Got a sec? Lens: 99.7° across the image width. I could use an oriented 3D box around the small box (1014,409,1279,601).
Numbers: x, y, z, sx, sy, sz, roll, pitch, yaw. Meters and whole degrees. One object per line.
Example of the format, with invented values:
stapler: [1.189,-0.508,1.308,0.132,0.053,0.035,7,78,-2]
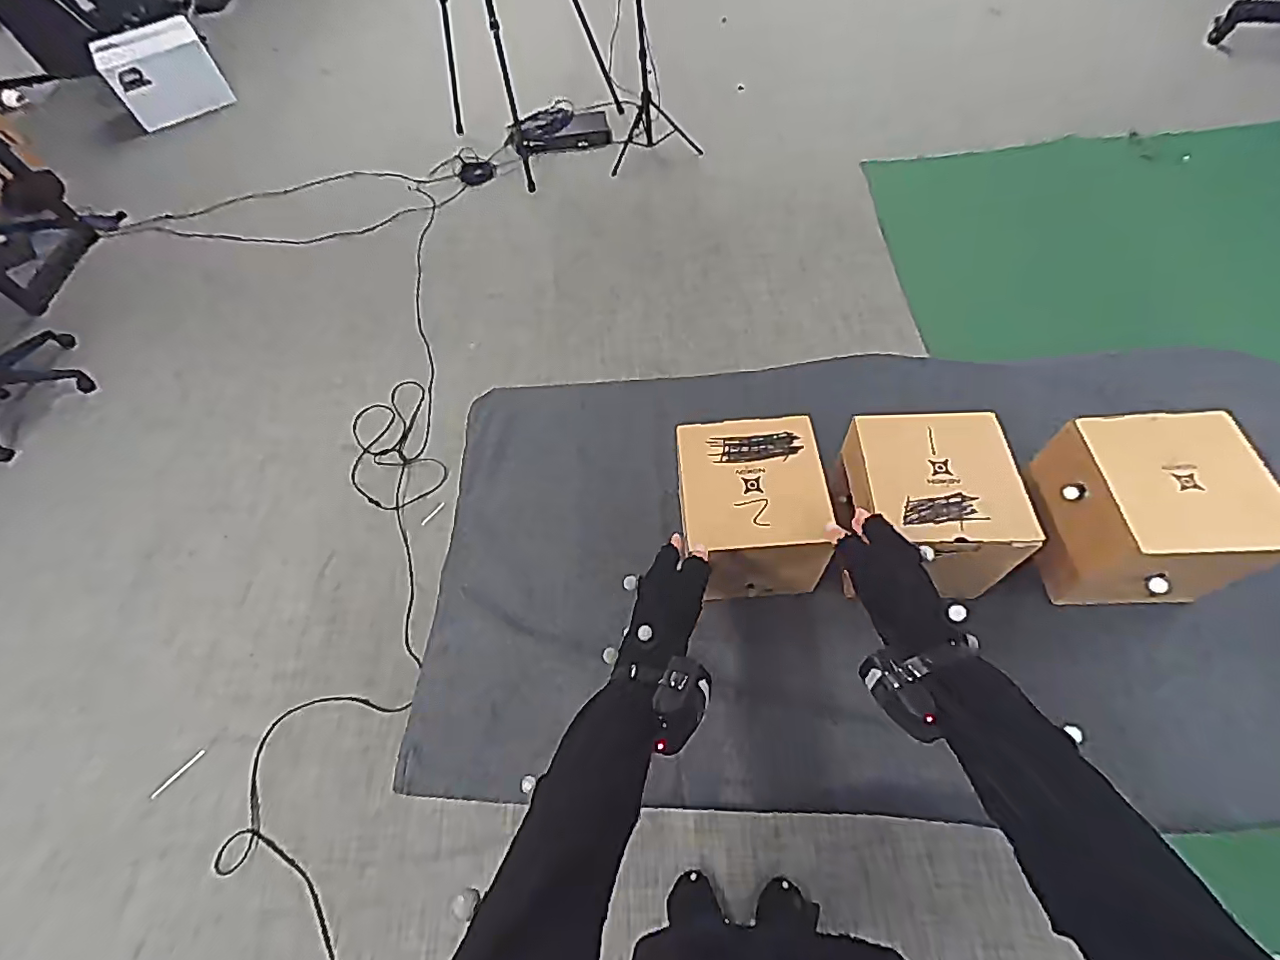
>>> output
small box: [0.593,0.039,0.644,0.168,0.176,0.179,-3,58,5]
